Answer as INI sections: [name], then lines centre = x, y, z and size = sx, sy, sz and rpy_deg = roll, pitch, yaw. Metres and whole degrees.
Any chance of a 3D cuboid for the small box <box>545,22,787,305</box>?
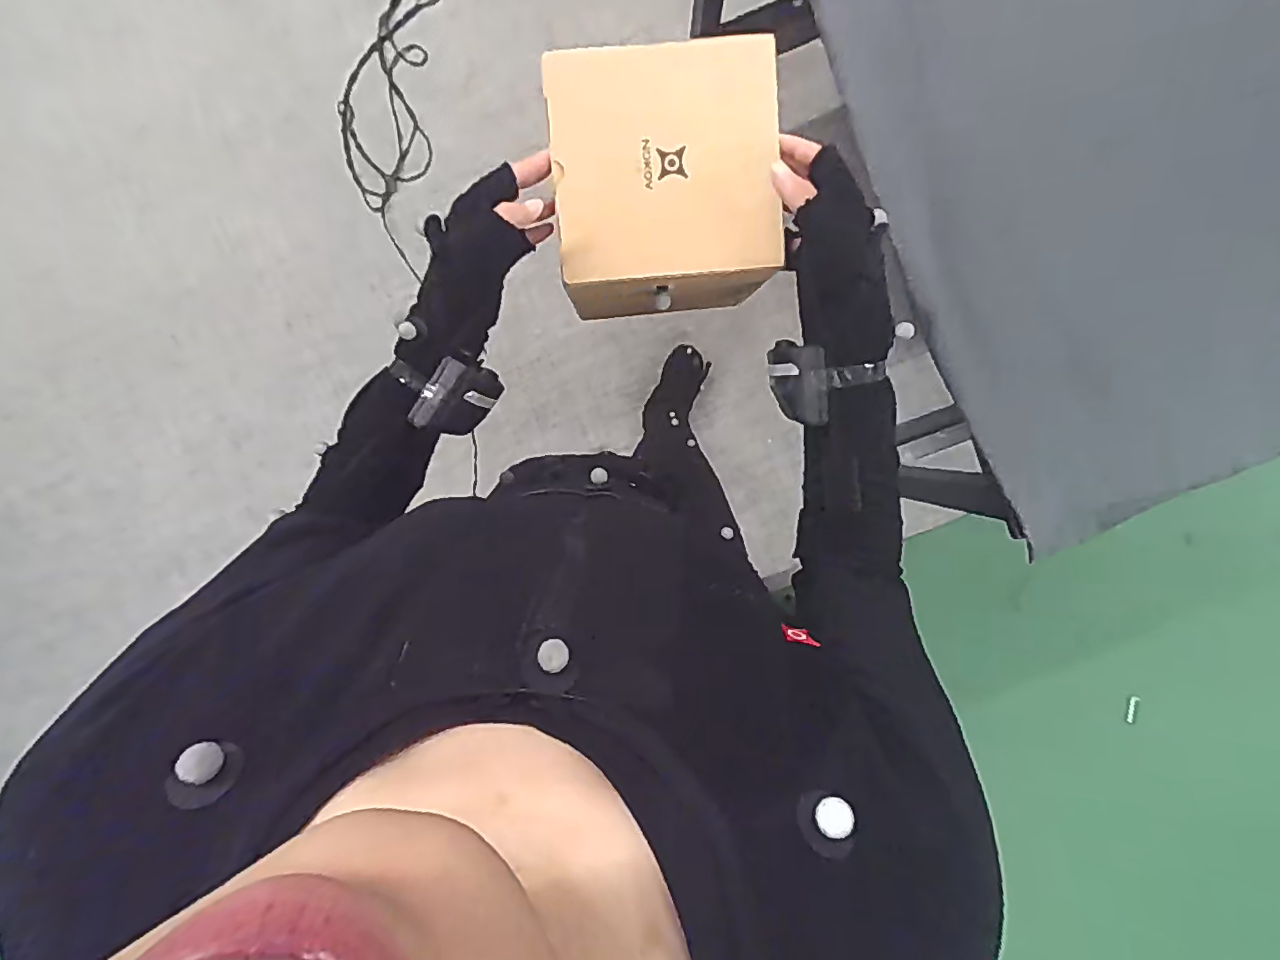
[small box]
centre = 0.021, -0.259, 0.484
size = 0.179, 0.176, 0.168
rpy_deg = -5, 98, 1
